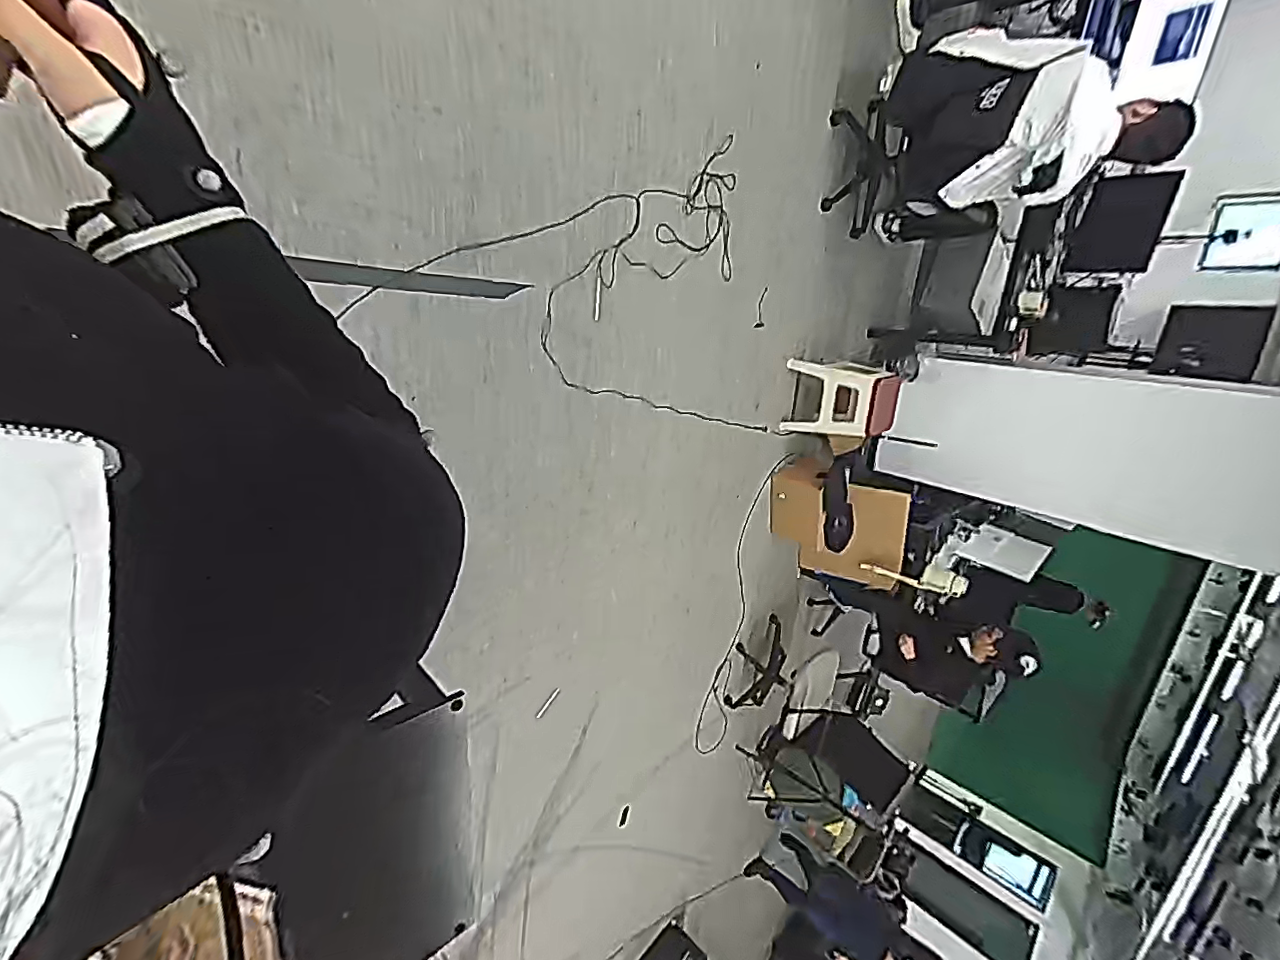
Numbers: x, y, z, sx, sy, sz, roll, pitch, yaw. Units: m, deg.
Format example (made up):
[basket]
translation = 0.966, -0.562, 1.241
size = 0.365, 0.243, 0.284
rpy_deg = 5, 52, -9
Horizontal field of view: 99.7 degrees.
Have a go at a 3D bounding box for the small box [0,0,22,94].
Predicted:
[small box]
translation = -0.463, -0.335, 0.275
size = 0.168, 0.176, 0.179
rpy_deg = -15, 115, -47
